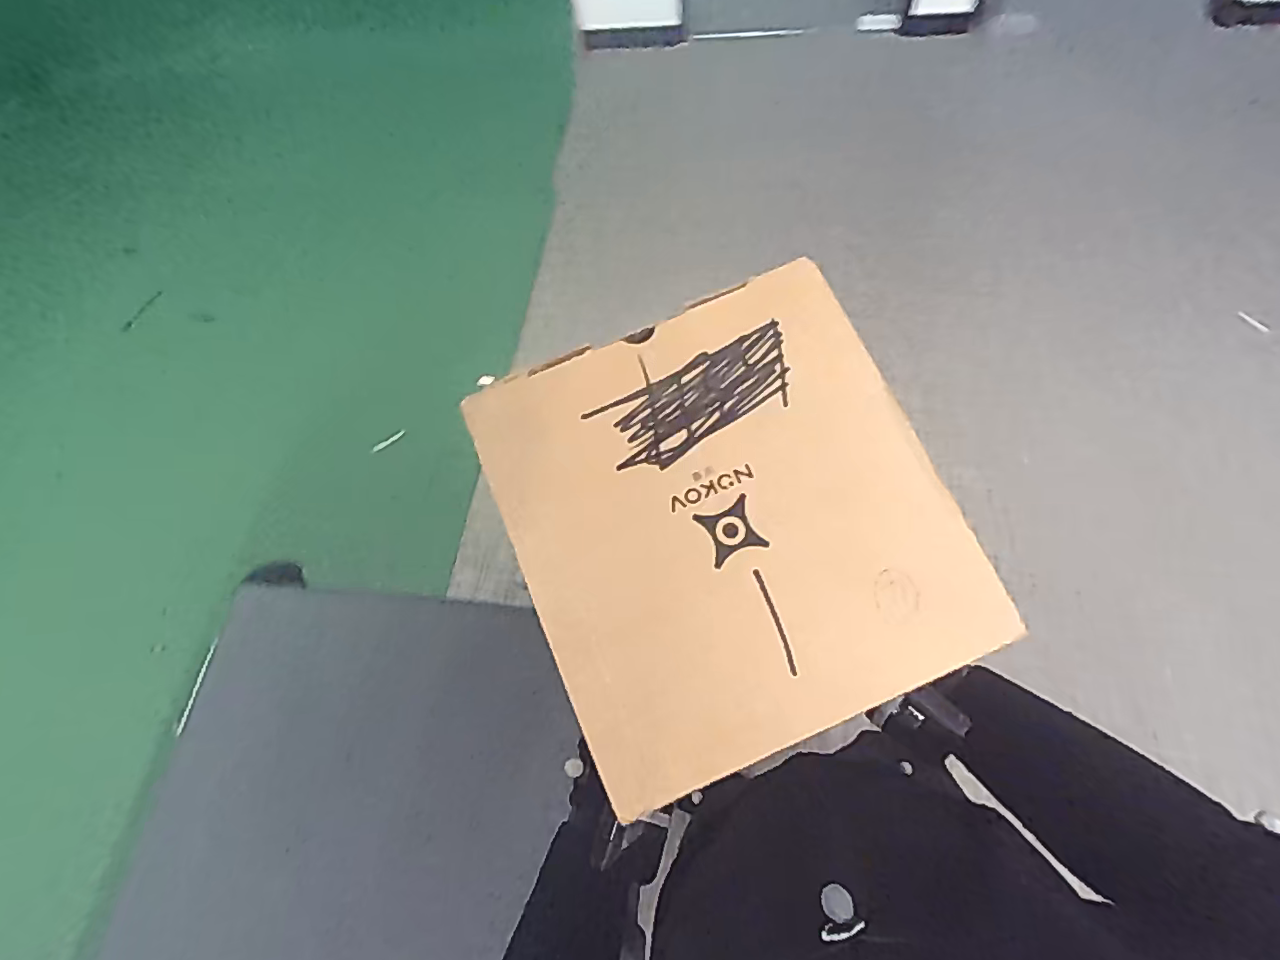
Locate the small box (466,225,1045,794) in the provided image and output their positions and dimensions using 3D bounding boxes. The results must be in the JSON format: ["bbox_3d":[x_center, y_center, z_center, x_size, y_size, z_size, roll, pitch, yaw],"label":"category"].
[{"bbox_3d":[0.037,0.017,0.279,0.168,0.176,0.179,-22,77,-3],"label":"small box"}]
